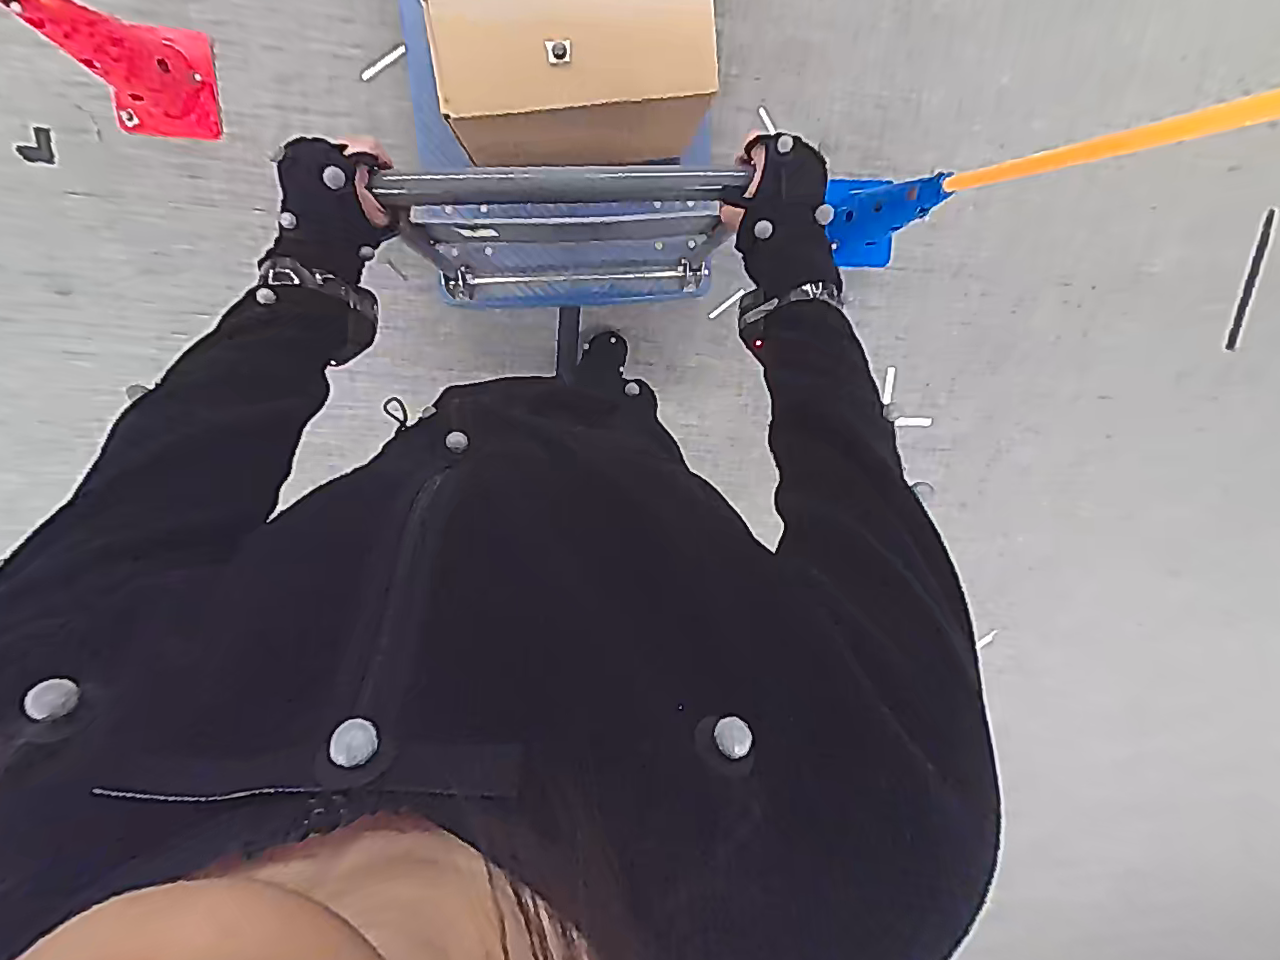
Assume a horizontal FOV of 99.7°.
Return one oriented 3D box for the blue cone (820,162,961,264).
[{"bbox_3d":[0.551,-0.595,1.169,0.193,0.380,0.192,-1,103,-6],"label":"blue cone"}]
